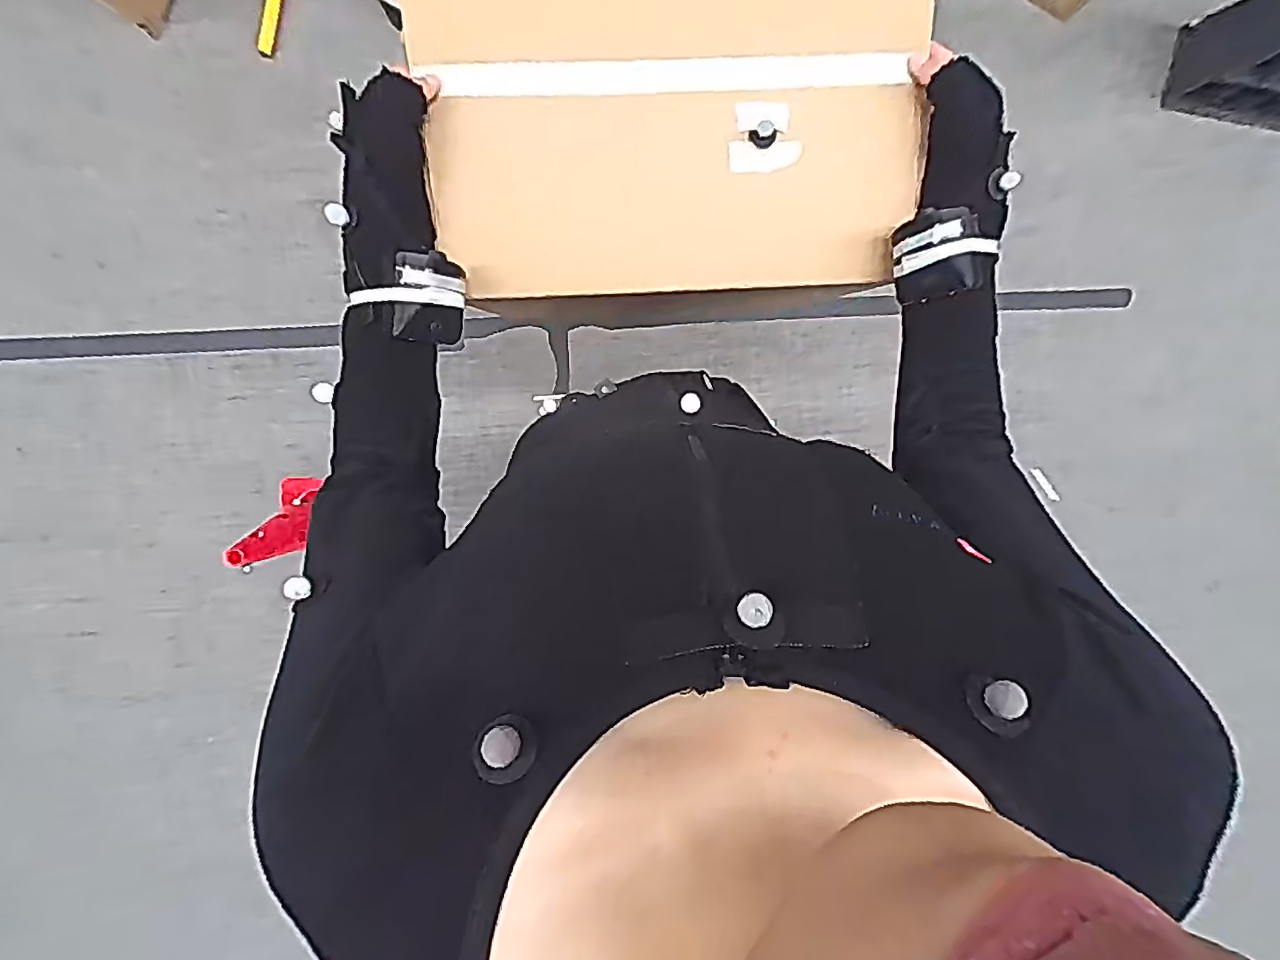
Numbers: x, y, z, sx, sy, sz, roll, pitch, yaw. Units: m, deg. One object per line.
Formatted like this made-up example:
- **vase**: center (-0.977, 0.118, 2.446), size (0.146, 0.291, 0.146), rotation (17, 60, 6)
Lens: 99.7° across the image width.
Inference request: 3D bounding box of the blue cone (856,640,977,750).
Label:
- **blue cone**: center (0.766, 0.607, 1.483), size (0.192, 0.380, 0.193), rotation (0, 99, -6)

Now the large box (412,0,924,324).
- **large box**: center (0.017, -0.346, 0.574), size (0.408, 0.320, 0.320), rotation (-4, 103, -4)

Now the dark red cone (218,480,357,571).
- **dark red cone**: center (-0.814, 0.129, 1.227), size (0.201, 0.394, 0.202), rotation (2, 99, -7)
